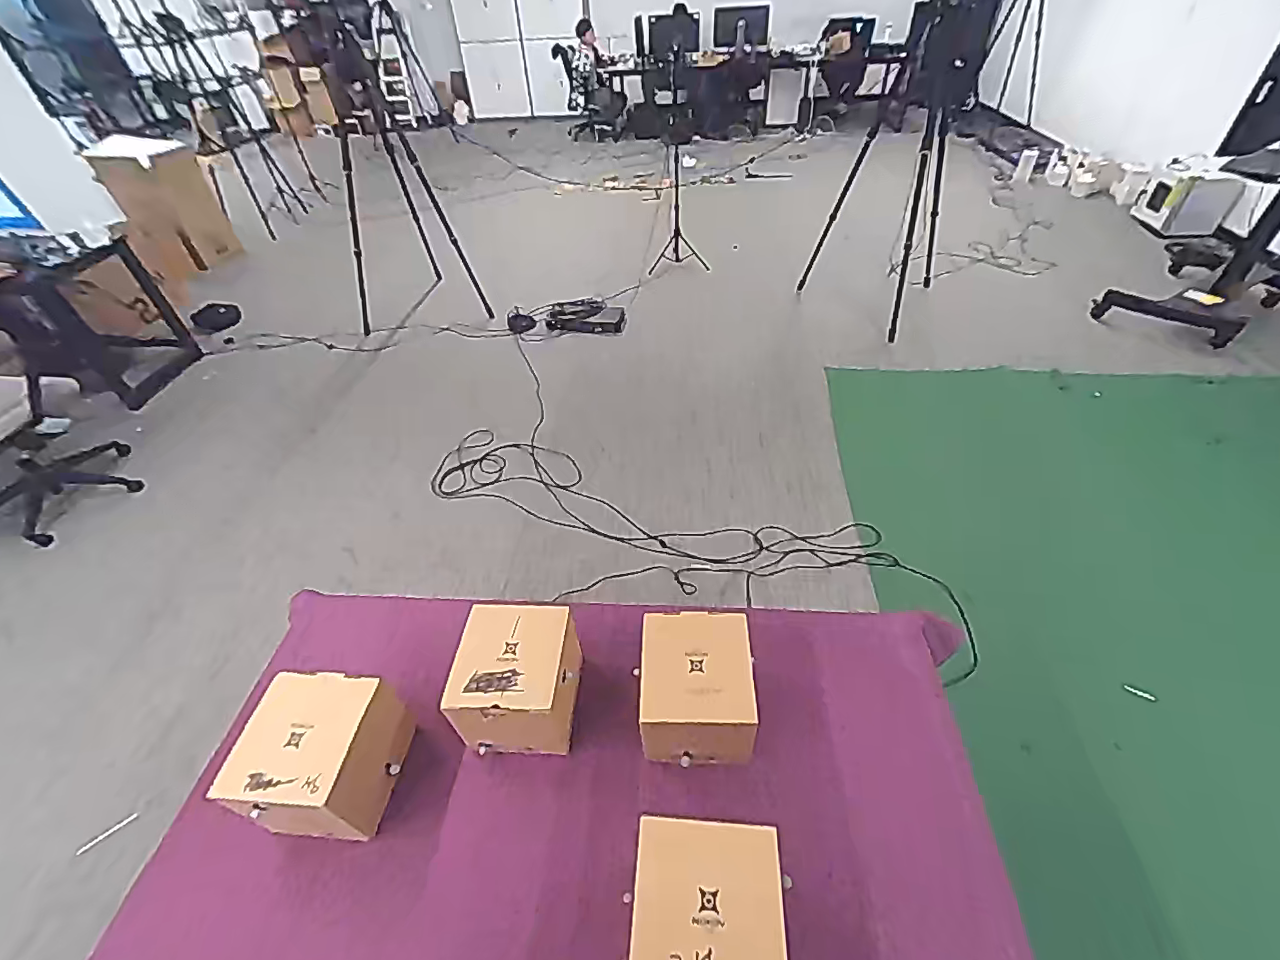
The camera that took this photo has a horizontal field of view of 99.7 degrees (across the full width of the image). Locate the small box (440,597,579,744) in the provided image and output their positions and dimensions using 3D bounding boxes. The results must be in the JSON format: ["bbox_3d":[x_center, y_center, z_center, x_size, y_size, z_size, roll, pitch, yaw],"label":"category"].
[{"bbox_3d":[-0.199,0.314,0.887,0.168,0.176,0.179,1,43,4],"label":"small box"}]

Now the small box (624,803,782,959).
[{"bbox_3d":[0.074,0.521,0.649,0.168,0.176,0.179,2,41,7],"label":"small box"}]

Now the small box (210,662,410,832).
[{"bbox_3d":[-0.473,0.400,0.814,0.168,0.176,0.179,1,44,7],"label":"small box"}]

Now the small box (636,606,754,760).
[{"bbox_3d":[0.084,0.322,0.862,0.168,0.176,0.179,-1,45,5],"label":"small box"}]
